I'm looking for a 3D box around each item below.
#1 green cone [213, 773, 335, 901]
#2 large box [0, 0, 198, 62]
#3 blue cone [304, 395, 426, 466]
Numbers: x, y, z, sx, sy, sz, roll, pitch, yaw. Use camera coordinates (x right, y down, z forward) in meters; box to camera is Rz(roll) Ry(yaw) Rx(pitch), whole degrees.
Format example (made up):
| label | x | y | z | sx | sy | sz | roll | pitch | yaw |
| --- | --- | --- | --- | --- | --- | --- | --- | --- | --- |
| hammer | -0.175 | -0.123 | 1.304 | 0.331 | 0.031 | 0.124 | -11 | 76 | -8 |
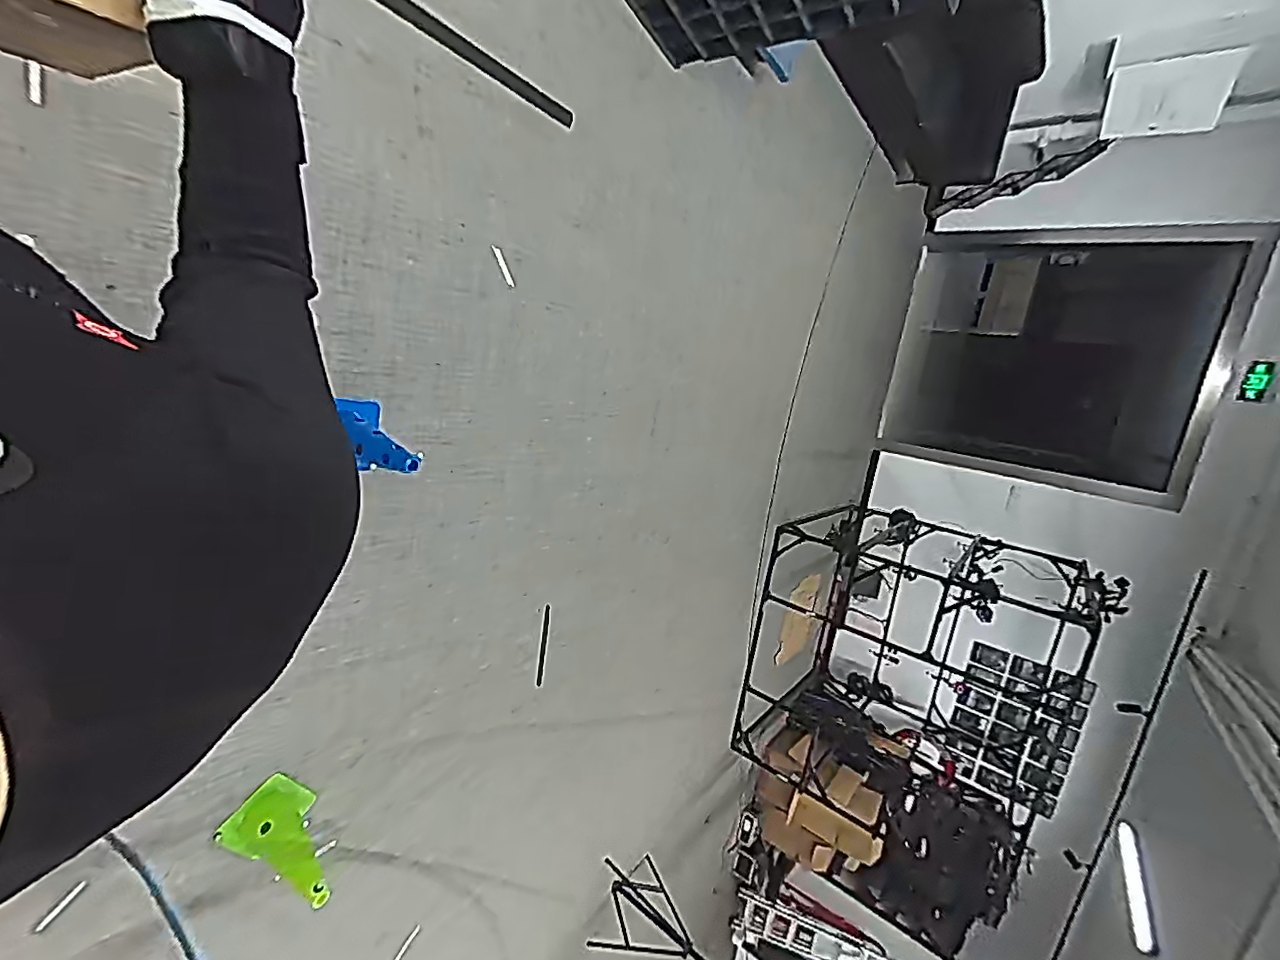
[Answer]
| label | x | y | z | sx | sy | sz | roll | pitch | yaw |
| --- | --- | --- | --- | --- | --- | --- | --- | --- | --- |
| green cone | -0.937 | 1.006 | 1.461 | 0.202 | 0.368 | 0.200 | -50 | 140 | -32 |
| large box | -0.511 | -0.468 | 0.246 | 0.408 | 0.320 | 0.320 | -13 | 121 | -53 |
| blue cone | -0.678 | -0.093 | 1.379 | 0.192 | 0.380 | 0.193 | -1 | 105 | -55 |
